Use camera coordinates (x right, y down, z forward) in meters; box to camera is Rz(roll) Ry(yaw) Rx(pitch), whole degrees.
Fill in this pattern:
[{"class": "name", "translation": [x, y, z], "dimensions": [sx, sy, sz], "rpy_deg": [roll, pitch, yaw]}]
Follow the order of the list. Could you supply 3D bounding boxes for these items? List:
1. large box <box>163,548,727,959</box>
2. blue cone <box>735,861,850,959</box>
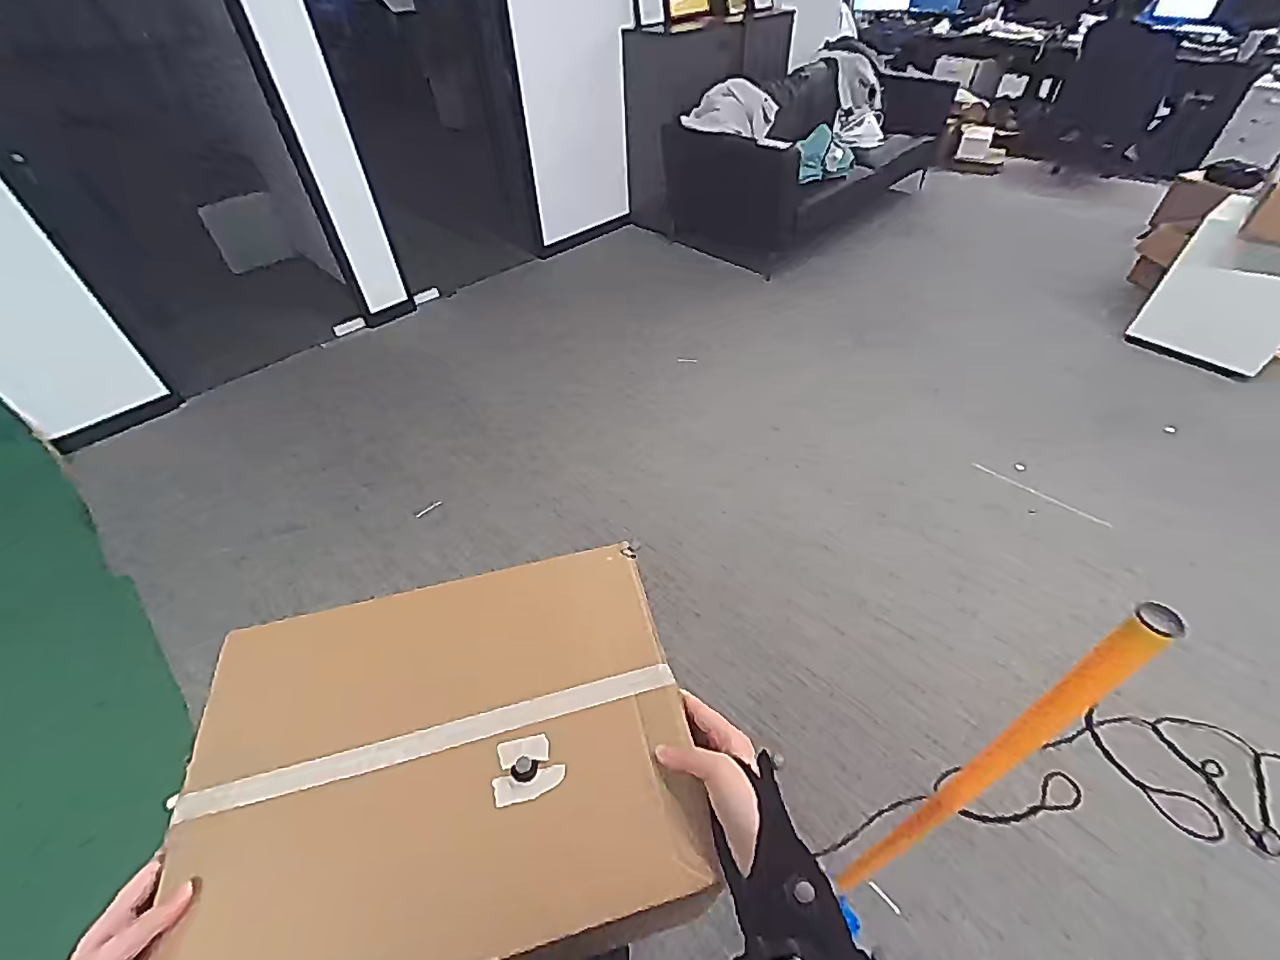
[{"class": "large box", "translation": [-0.164, 0.325, 0.579], "dimensions": [0.408, 0.320, 0.320], "rpy_deg": [-11, 48, -11]}, {"class": "blue cone", "translation": [0.325, 0.844, 1.050], "dimensions": [0.192, 0.380, 0.193], "rpy_deg": [-28, 50, -23]}]
